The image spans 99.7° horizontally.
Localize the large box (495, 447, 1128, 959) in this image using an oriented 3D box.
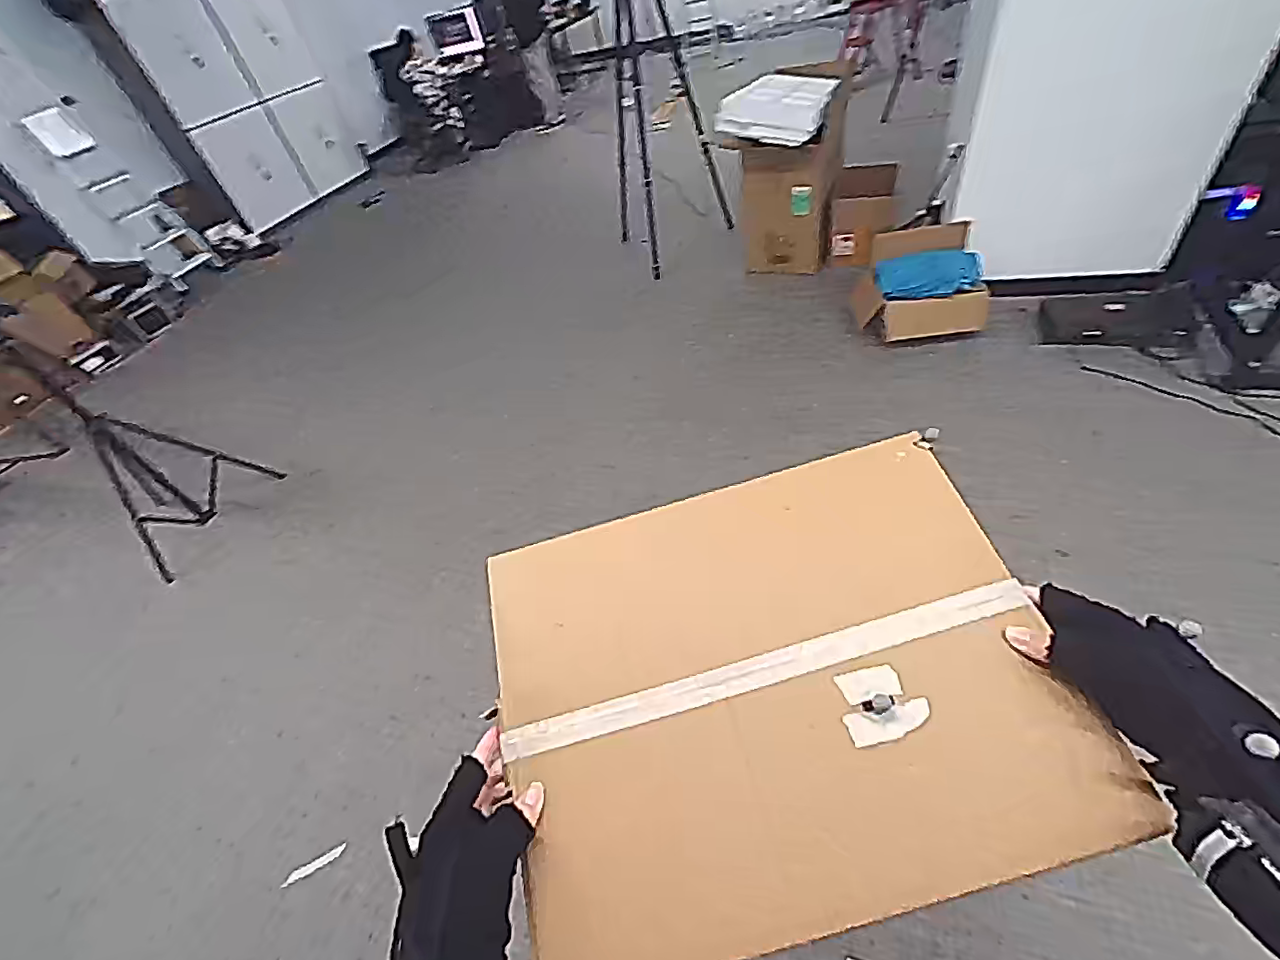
[{"bbox_3d":[0.113,0.227,0.551,0.408,0.320,0.320,-17,59,-1],"label":"large box"}]
